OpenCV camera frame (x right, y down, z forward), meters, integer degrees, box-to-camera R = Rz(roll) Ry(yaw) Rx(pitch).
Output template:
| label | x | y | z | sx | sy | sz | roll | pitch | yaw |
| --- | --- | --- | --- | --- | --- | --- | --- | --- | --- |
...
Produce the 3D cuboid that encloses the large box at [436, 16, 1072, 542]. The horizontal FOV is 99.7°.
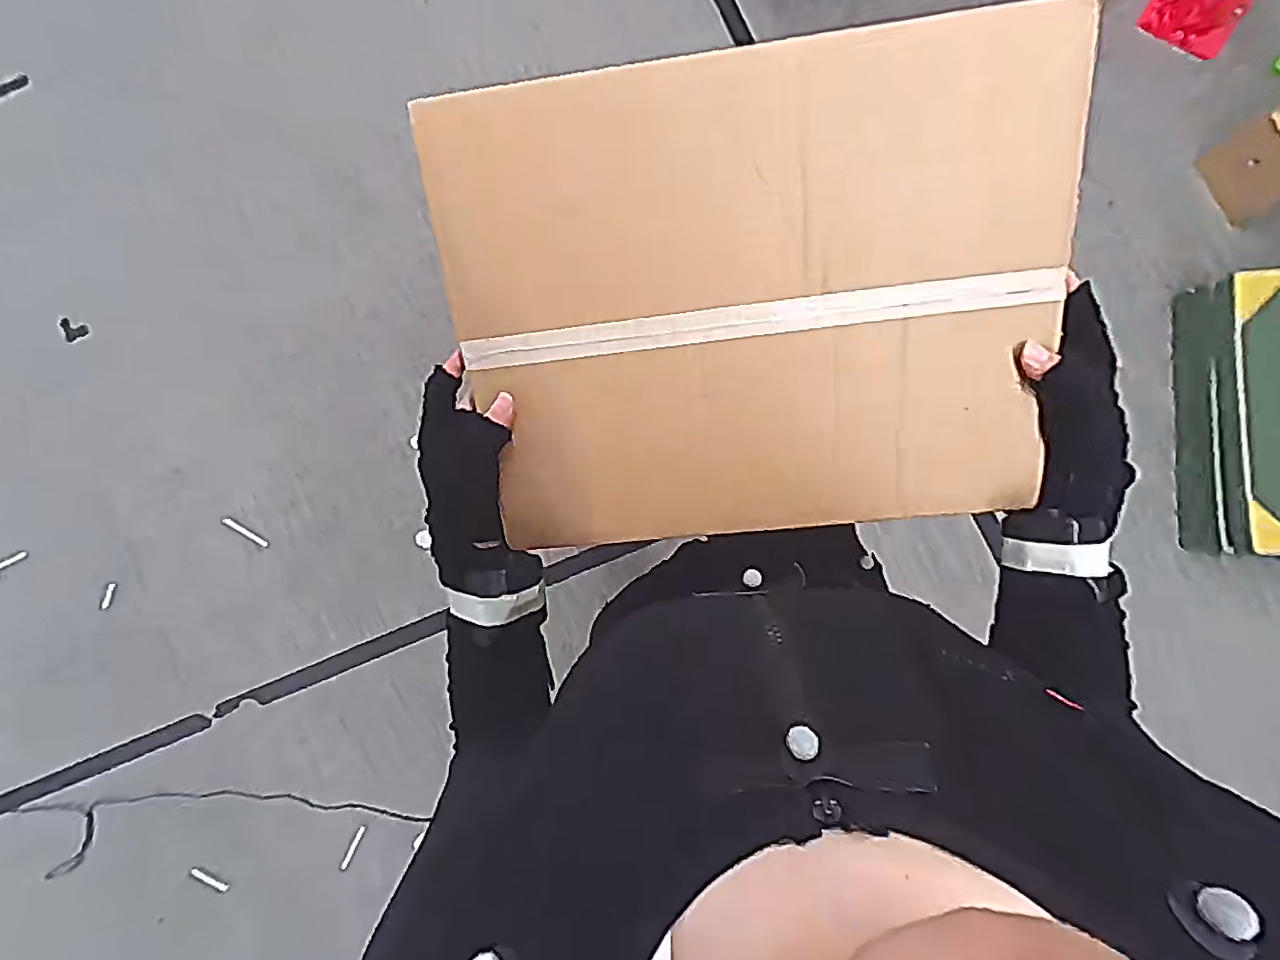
| label | x | y | z | sx | sy | sz | roll | pitch | yaw |
| --- | --- | --- | --- | --- | --- | --- | --- | --- | --- |
| large box | 0.084 | -0.160 | 0.524 | 0.408 | 0.320 | 0.320 | -5 | 110 | 5 |
